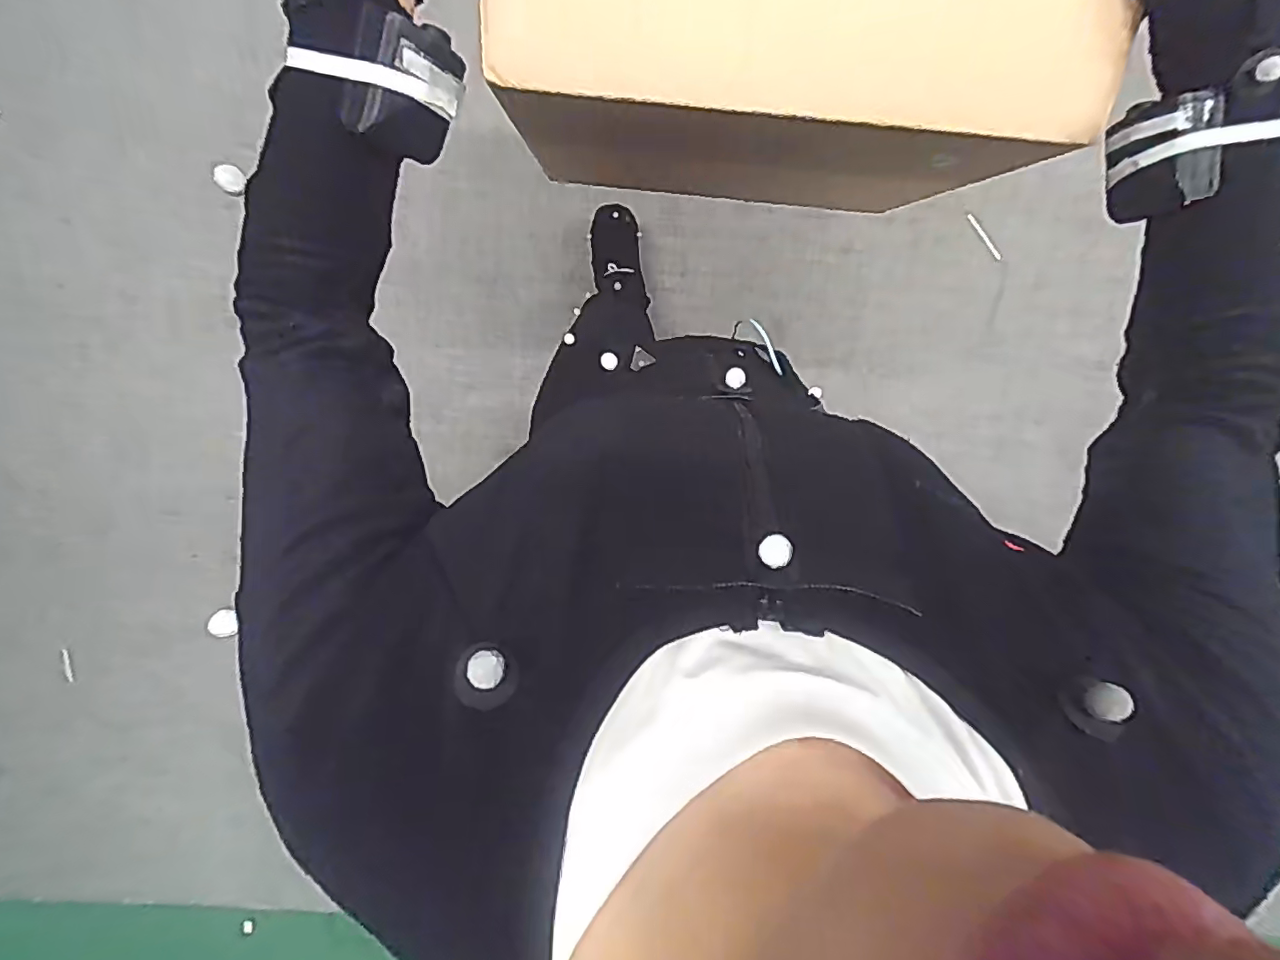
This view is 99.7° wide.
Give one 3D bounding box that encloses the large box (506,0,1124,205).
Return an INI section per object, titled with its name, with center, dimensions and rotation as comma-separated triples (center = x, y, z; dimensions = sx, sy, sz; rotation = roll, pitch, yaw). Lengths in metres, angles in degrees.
[large box]
center = 0.111, -0.437, 0.455
dimensions = 0.408, 0.320, 0.320
rotation = 3, 109, -4
